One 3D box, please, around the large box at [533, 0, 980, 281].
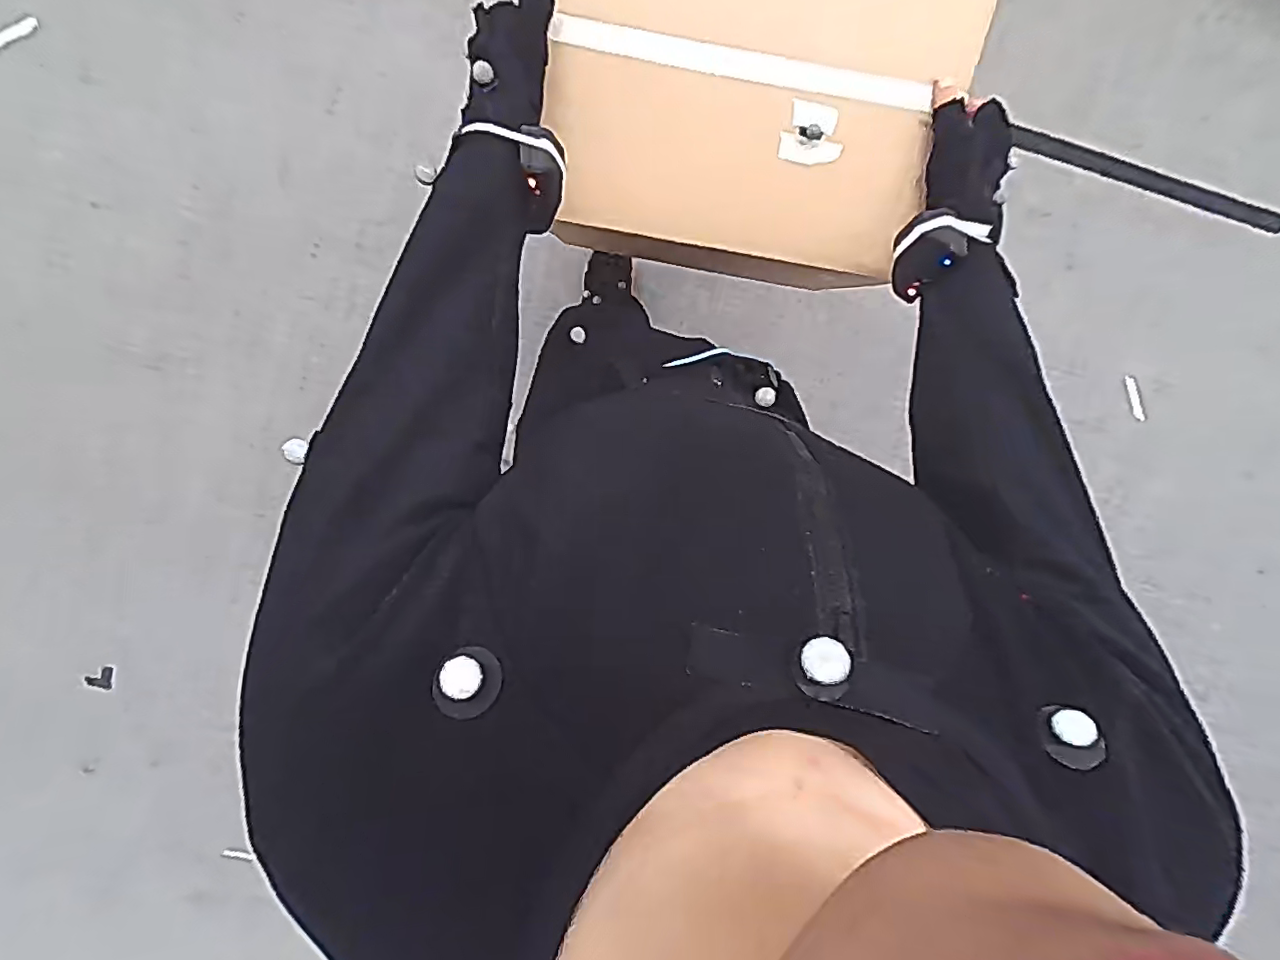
[{"bbox_3d":[0.103,-0.438,0.658,0.408,0.320,0.320,9,109,-4],"label":"large box"}]
